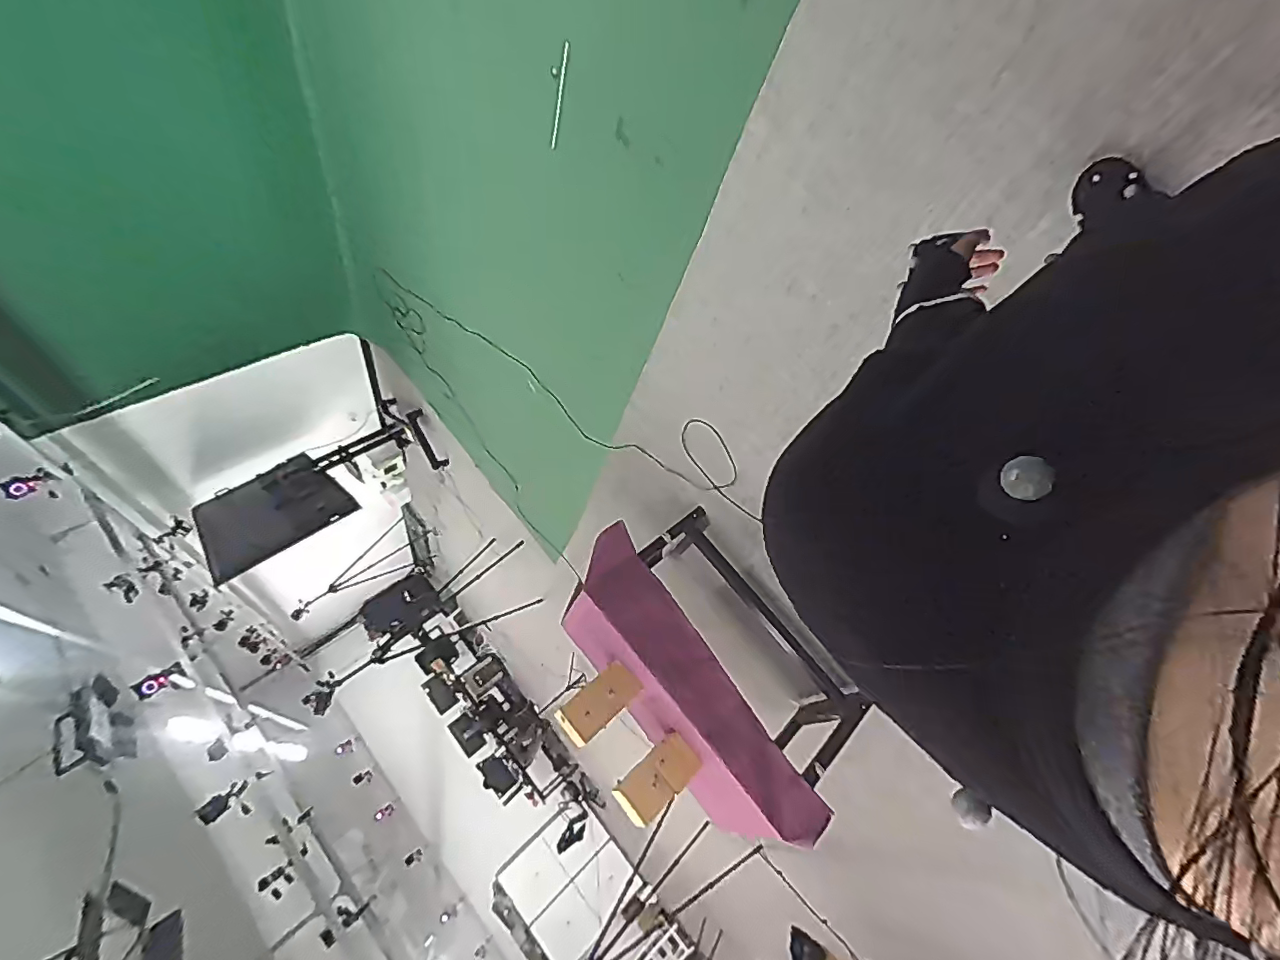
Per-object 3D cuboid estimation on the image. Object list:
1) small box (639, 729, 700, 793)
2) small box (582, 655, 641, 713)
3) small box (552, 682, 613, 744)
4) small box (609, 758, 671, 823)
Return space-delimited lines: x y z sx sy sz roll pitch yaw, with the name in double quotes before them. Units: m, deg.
"small box" 0.127 1.188 2.288 0.179 0.176 0.168 49 149 13
"small box" -0.124 0.896 2.361 0.179 0.176 0.168 50 148 12
"small box" -0.241 0.976 2.278 0.179 0.176 0.168 48 148 12
"small box" 0.002 1.264 2.210 0.168 0.176 0.179 49 149 13
